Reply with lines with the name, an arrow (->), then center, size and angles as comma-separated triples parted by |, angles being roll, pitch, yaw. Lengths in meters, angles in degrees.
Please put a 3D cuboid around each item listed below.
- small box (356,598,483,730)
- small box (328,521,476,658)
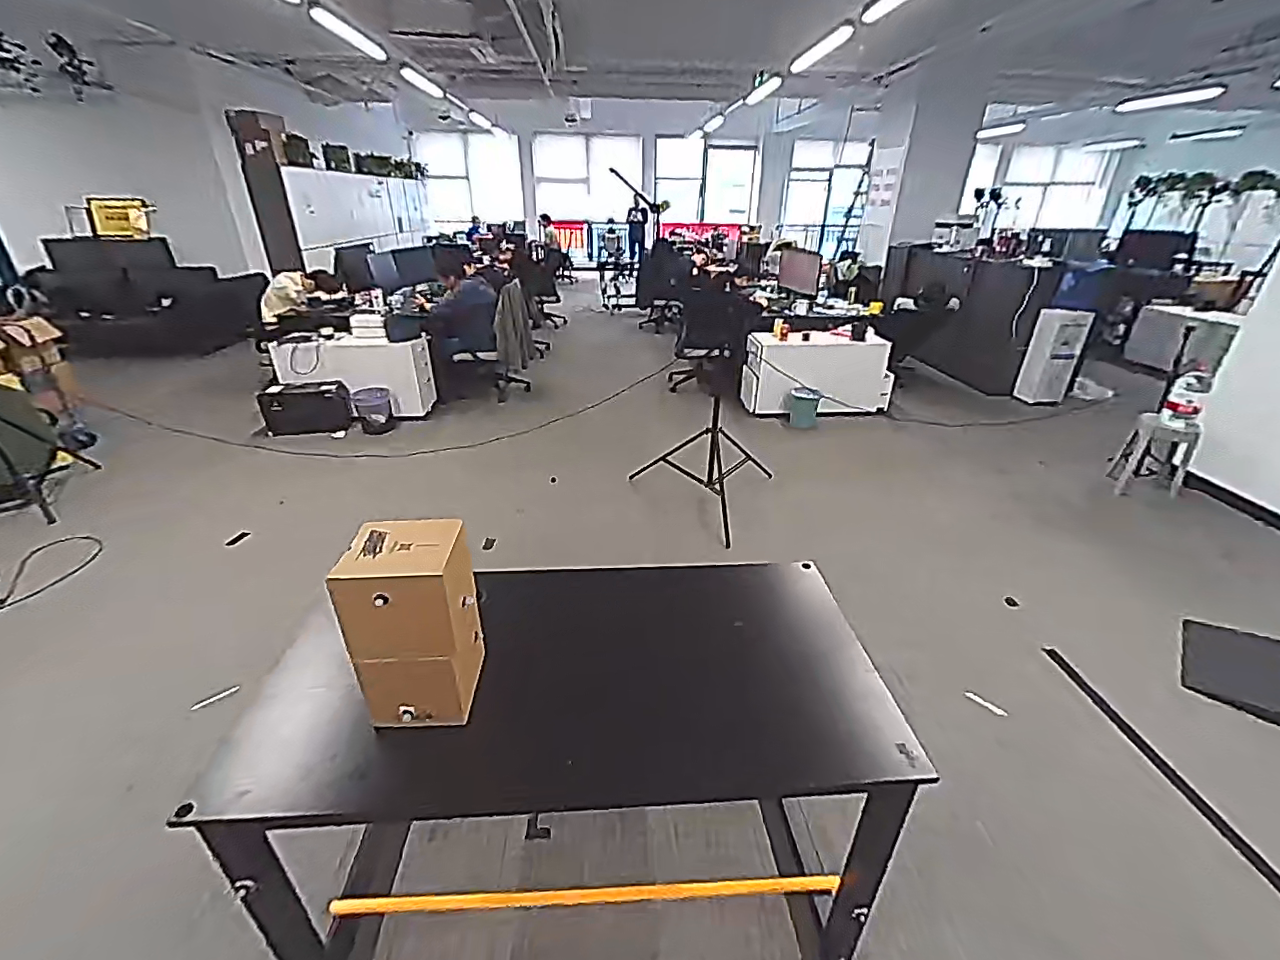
small box -> -0.395, 0.332, 1.004 | 0.168, 0.176, 0.179 | -2, 28, -3
small box -> -0.393, 0.186, 0.928 | 0.179, 0.176, 0.168 | -2, 27, -4
